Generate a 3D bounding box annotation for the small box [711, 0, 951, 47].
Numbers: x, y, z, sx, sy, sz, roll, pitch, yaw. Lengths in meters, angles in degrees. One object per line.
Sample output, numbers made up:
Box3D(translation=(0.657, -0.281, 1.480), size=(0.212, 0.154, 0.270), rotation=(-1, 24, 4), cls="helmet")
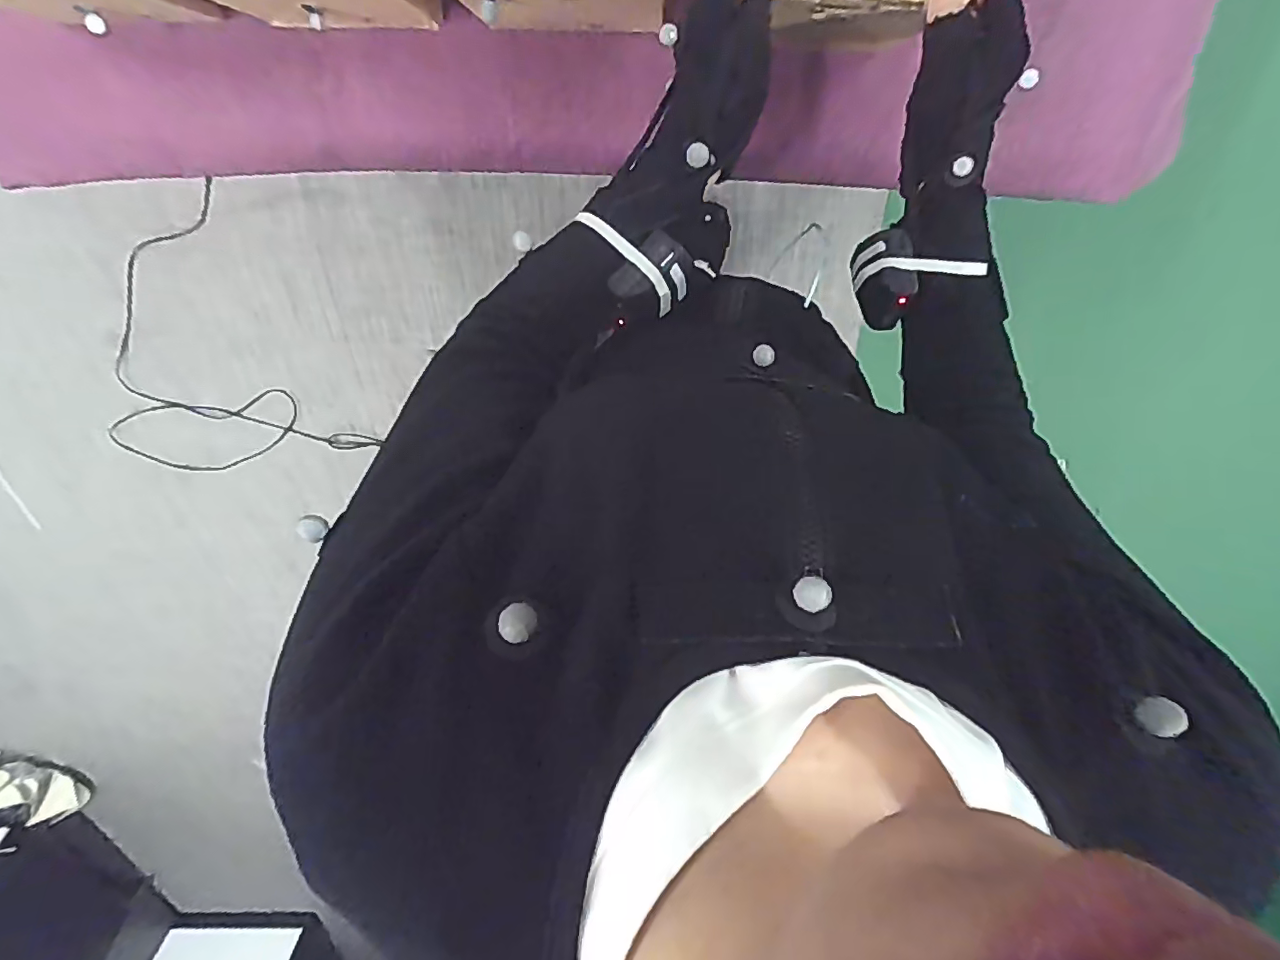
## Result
Box3D(translation=(0.149, -0.455, 0.409), size=(0.168, 0.176, 0.179), rotation=(4, 119, -1), cls="small box")
